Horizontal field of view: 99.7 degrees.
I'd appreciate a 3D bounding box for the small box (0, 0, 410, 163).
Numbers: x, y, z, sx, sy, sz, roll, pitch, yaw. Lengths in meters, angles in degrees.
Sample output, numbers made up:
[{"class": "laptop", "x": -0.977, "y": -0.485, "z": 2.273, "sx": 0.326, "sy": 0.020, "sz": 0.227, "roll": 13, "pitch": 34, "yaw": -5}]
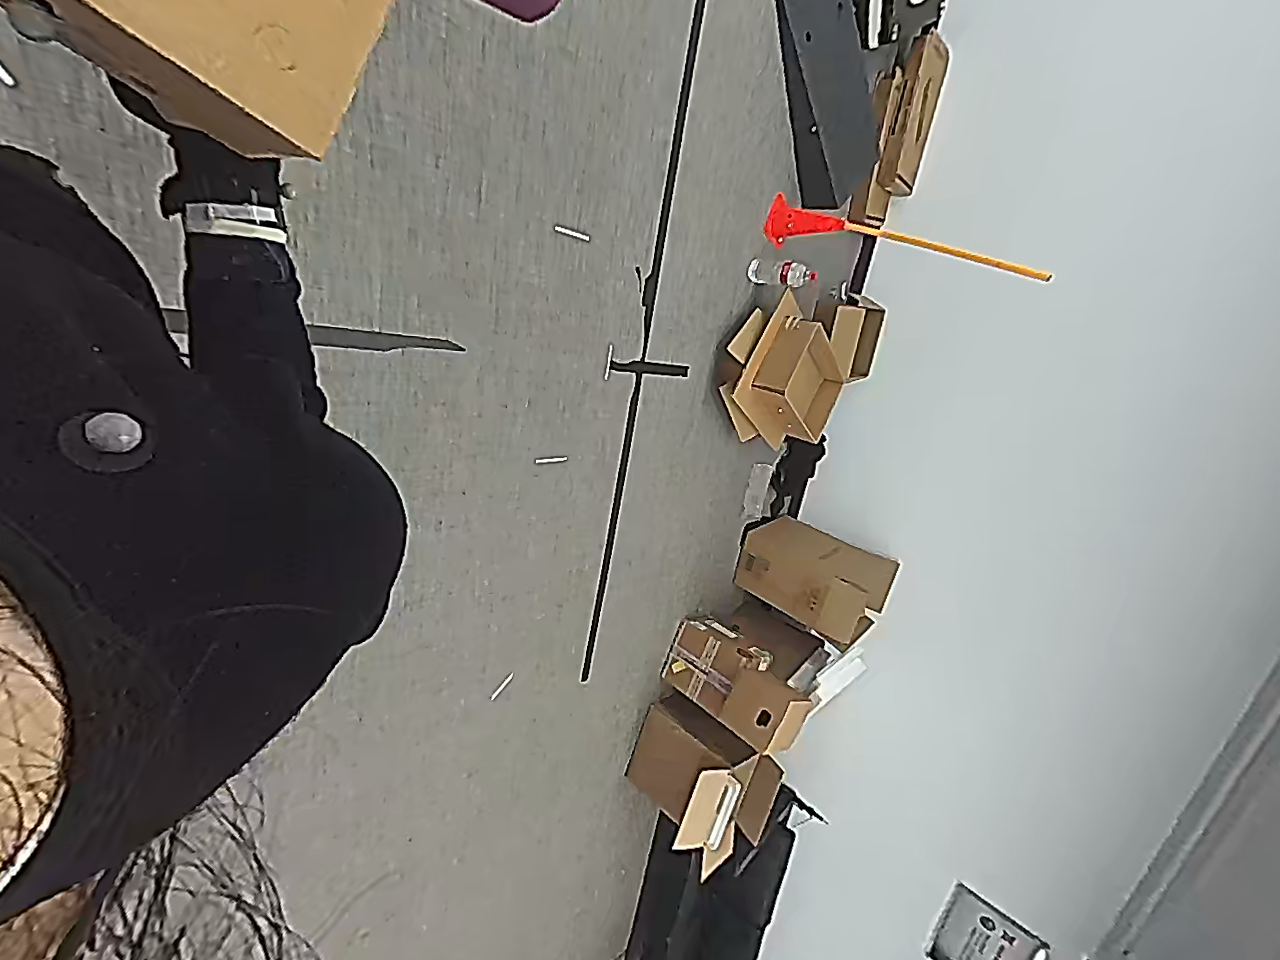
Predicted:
[{"class": "small box", "x": -0.228, "y": -0.290, "z": 0.274, "sx": 0.168, "sy": 0.176, "sz": 0.179, "roll": 19, "pitch": 95, "yaw": -51}]
